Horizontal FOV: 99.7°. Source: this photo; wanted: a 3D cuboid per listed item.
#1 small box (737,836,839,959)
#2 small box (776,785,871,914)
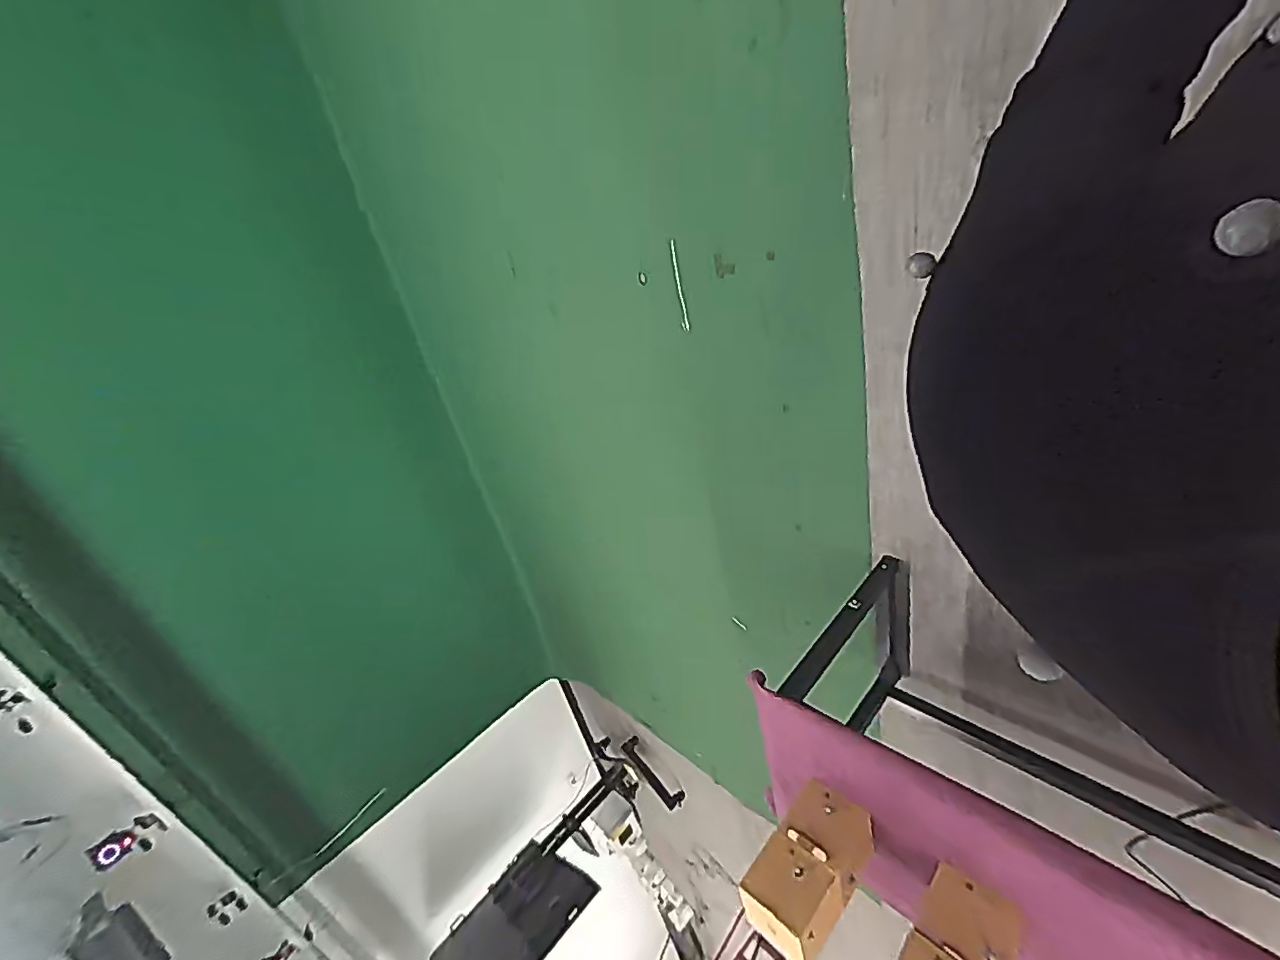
[{"bbox_3d":[0.357,1.008,1.286,0.168,0.176,0.179,14,127,45],"label":"small box"},{"bbox_3d":[0.471,0.929,1.373,0.168,0.176,0.179,13,127,45],"label":"small box"}]
